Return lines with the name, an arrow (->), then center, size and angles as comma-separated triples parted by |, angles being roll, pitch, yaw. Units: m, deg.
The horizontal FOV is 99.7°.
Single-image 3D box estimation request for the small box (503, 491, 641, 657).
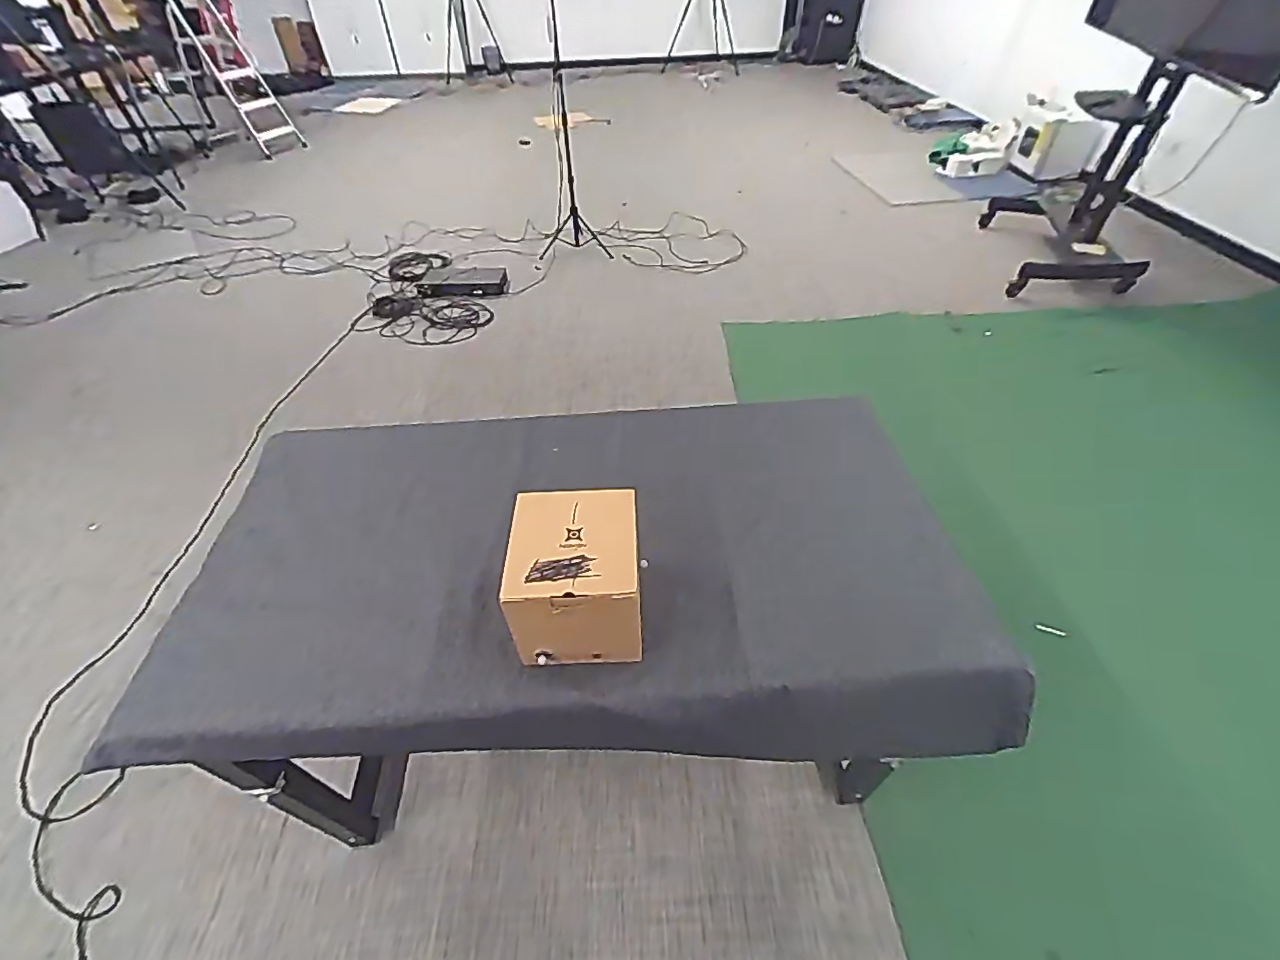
small box -> -0.083, 0.135, 0.762 | 0.168, 0.176, 0.179 | -1, 45, 0
